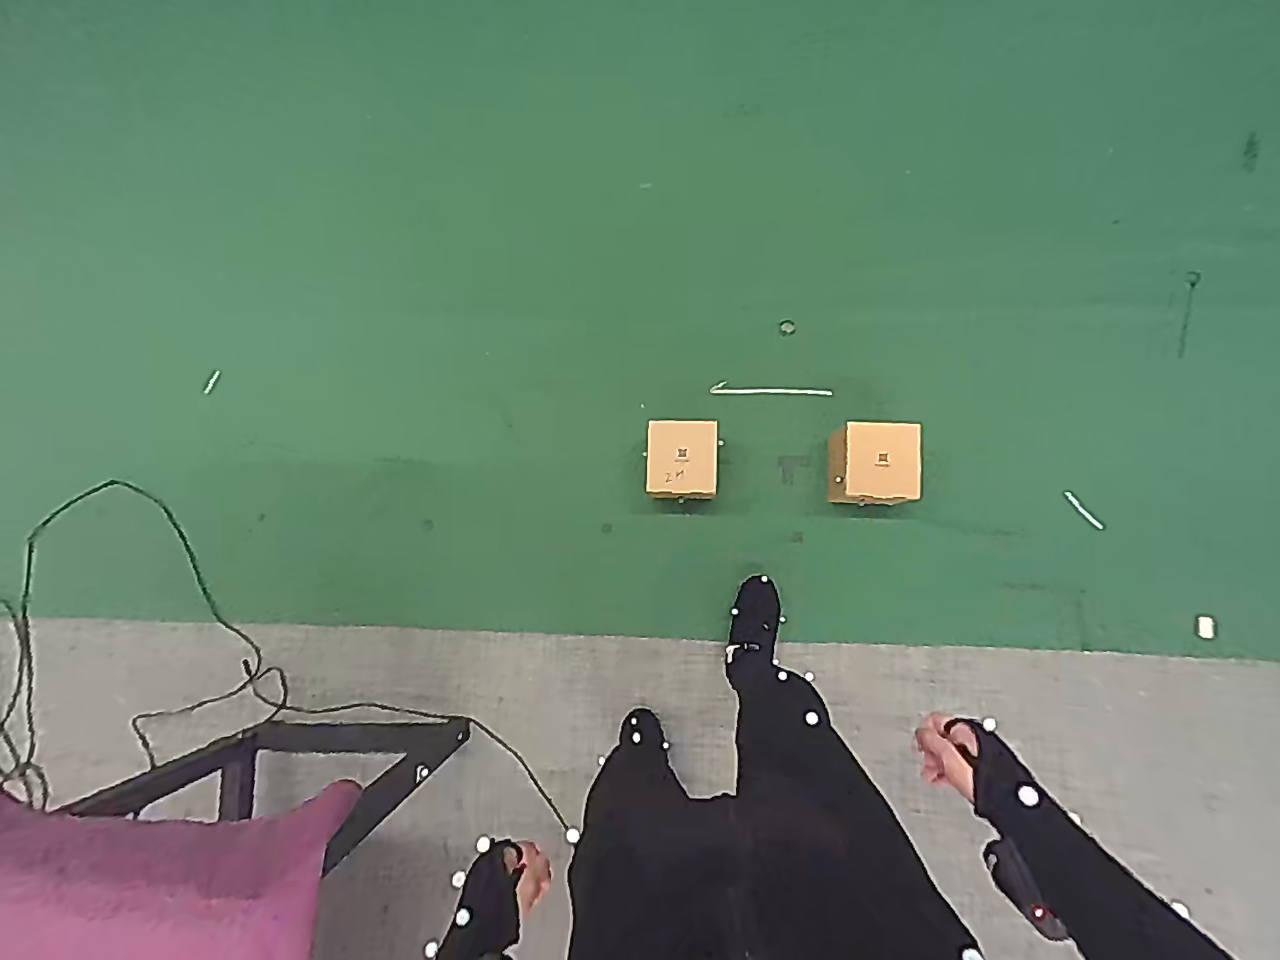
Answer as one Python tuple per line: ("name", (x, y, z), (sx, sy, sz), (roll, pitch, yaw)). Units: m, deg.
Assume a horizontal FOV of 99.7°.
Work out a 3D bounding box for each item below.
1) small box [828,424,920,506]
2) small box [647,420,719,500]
("small box", (0.563, -0.033, 1.319), (0.168, 0.176, 0.179), (3, 85, 5))
("small box", (0.108, -0.046, 1.359), (0.168, 0.176, 0.179), (2, 84, 6))
